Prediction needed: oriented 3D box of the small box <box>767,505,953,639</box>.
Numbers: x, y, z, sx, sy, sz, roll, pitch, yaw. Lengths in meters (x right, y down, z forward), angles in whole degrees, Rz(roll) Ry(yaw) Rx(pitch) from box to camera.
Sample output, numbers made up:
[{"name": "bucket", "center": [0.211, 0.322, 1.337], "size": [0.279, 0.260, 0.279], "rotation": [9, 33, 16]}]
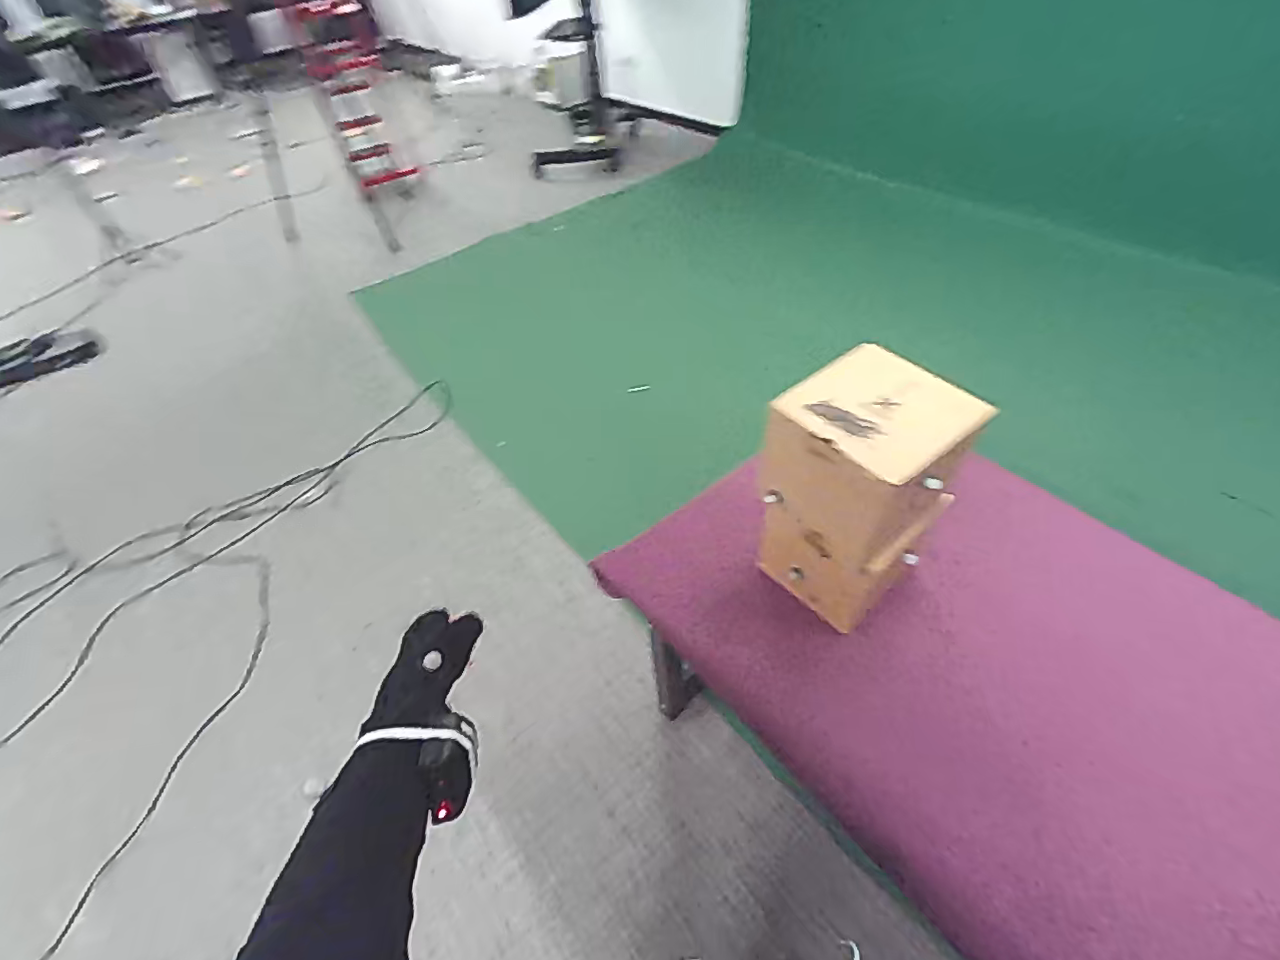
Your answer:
[{"name": "small box", "center": [0.302, 0.092, 0.782], "size": [0.179, 0.176, 0.168], "rotation": [-35, 55, -22]}]

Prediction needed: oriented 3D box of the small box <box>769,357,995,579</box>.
[{"name": "small box", "center": [0.274, -0.012, 0.656], "size": [0.179, 0.176, 0.168], "rotation": [-31, 54, -20]}]
